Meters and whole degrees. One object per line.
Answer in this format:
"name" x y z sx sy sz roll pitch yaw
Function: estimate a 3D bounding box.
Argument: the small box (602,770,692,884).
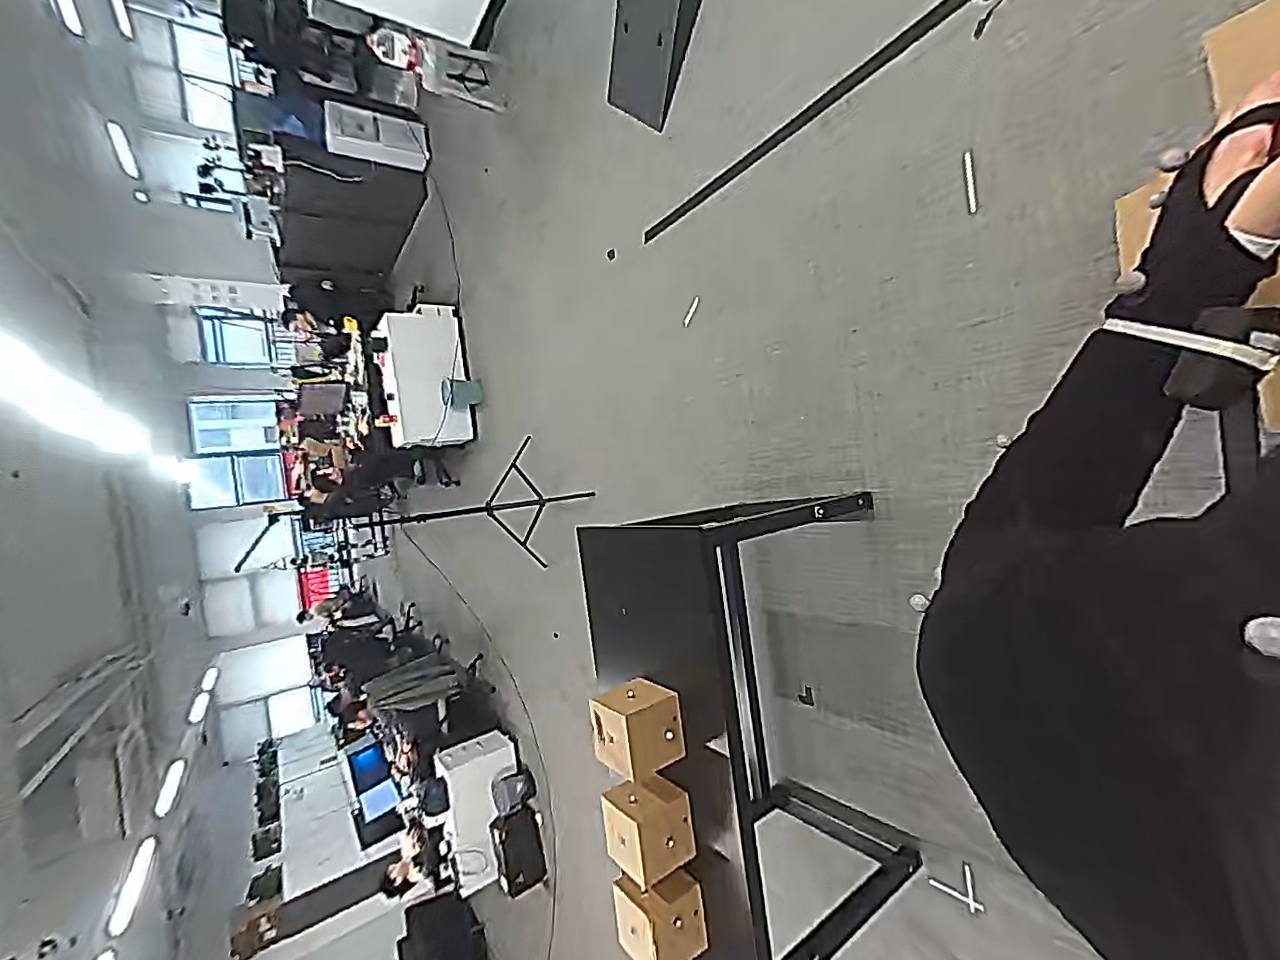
"small box" 0.023 0.896 1.421 0.179 0.176 0.168 -7 90 56

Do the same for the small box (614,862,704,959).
"small box" 0.056 1.134 1.424 0.179 0.176 0.168 -8 88 56

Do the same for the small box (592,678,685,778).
"small box" -0.005 0.633 1.411 0.179 0.176 0.168 -6 91 55
